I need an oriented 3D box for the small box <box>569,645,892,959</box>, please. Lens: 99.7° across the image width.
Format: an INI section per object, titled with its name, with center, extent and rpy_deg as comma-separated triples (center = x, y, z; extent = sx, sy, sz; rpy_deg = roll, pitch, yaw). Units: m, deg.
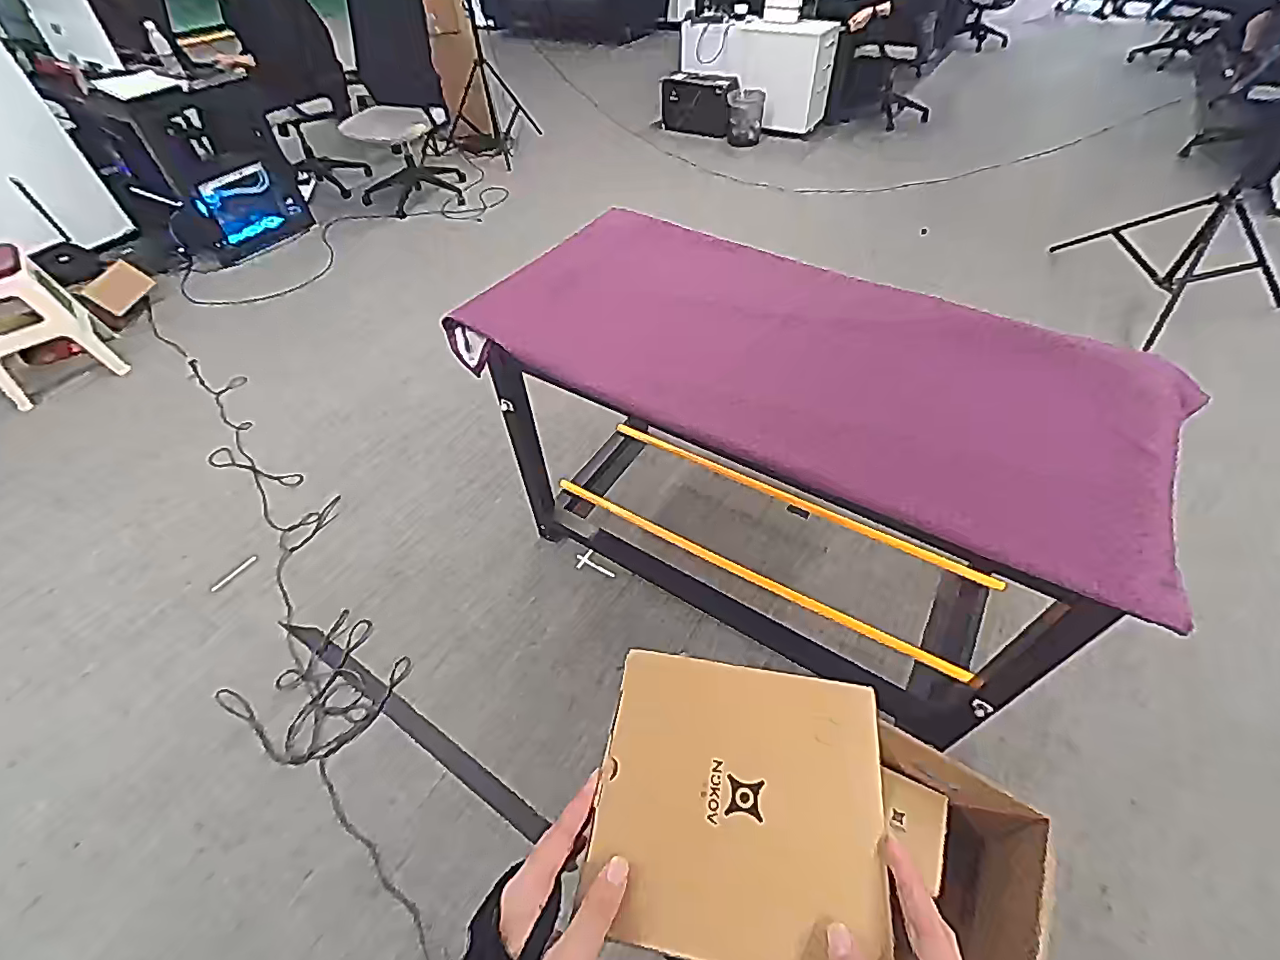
[small box]
center = 0.065, 0.244, 0.398
extent = 0.179, 0.176, 0.168
rpy_deg = 5, 50, 10
